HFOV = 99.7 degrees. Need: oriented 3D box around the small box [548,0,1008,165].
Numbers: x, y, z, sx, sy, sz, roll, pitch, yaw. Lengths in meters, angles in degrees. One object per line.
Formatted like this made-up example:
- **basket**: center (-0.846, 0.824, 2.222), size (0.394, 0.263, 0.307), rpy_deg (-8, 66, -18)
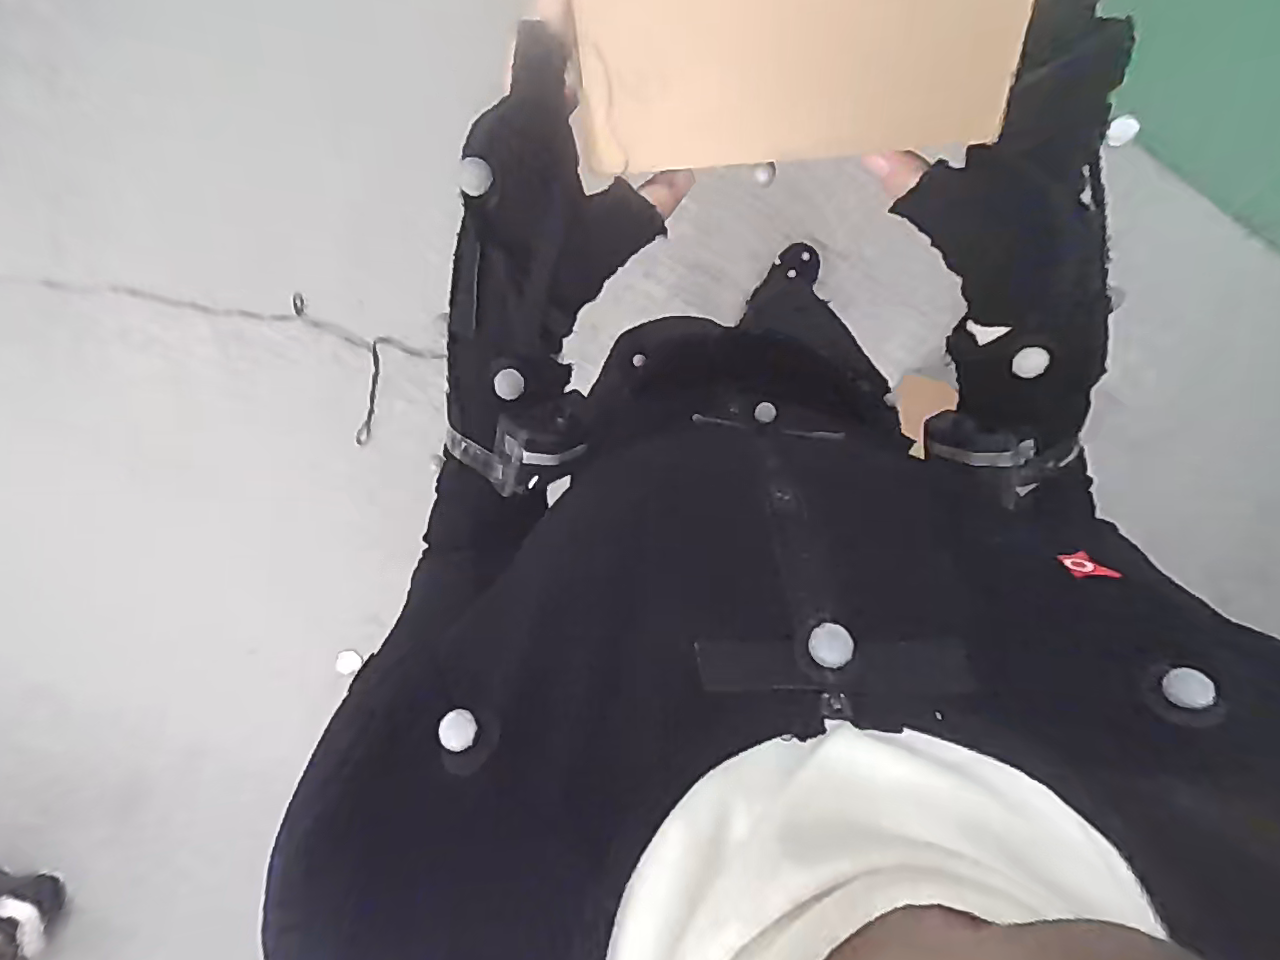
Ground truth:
- **small box**: center (0.052, -0.257, 0.251), size (0.179, 0.176, 0.168), rpy_deg (-4, 127, 6)
